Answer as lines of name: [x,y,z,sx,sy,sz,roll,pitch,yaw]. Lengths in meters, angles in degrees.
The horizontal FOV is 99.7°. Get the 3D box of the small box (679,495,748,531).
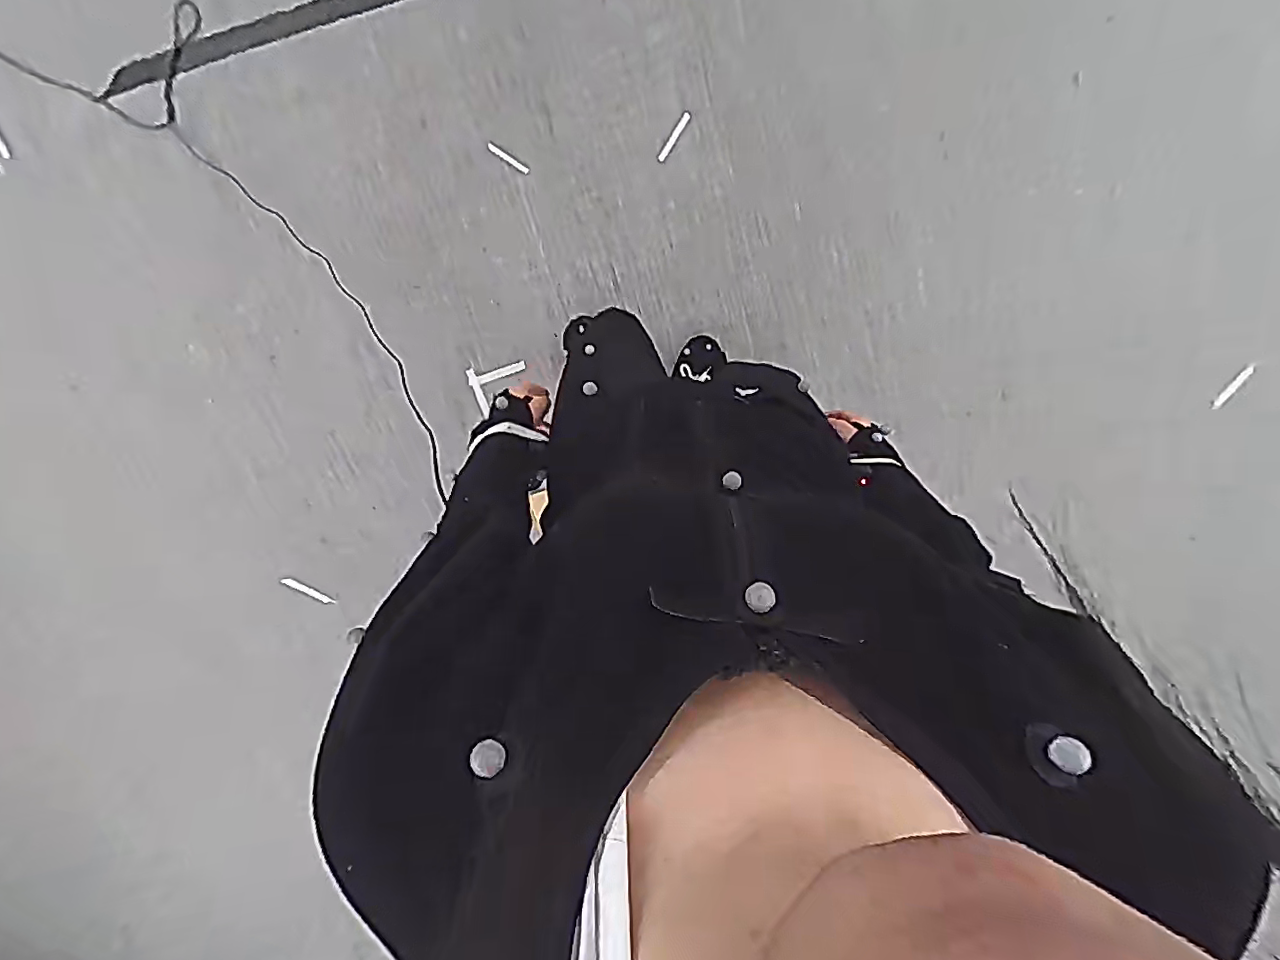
small box: [0.208,0.152,1.444,0.168,0.176,0.179,-19,104,6]
